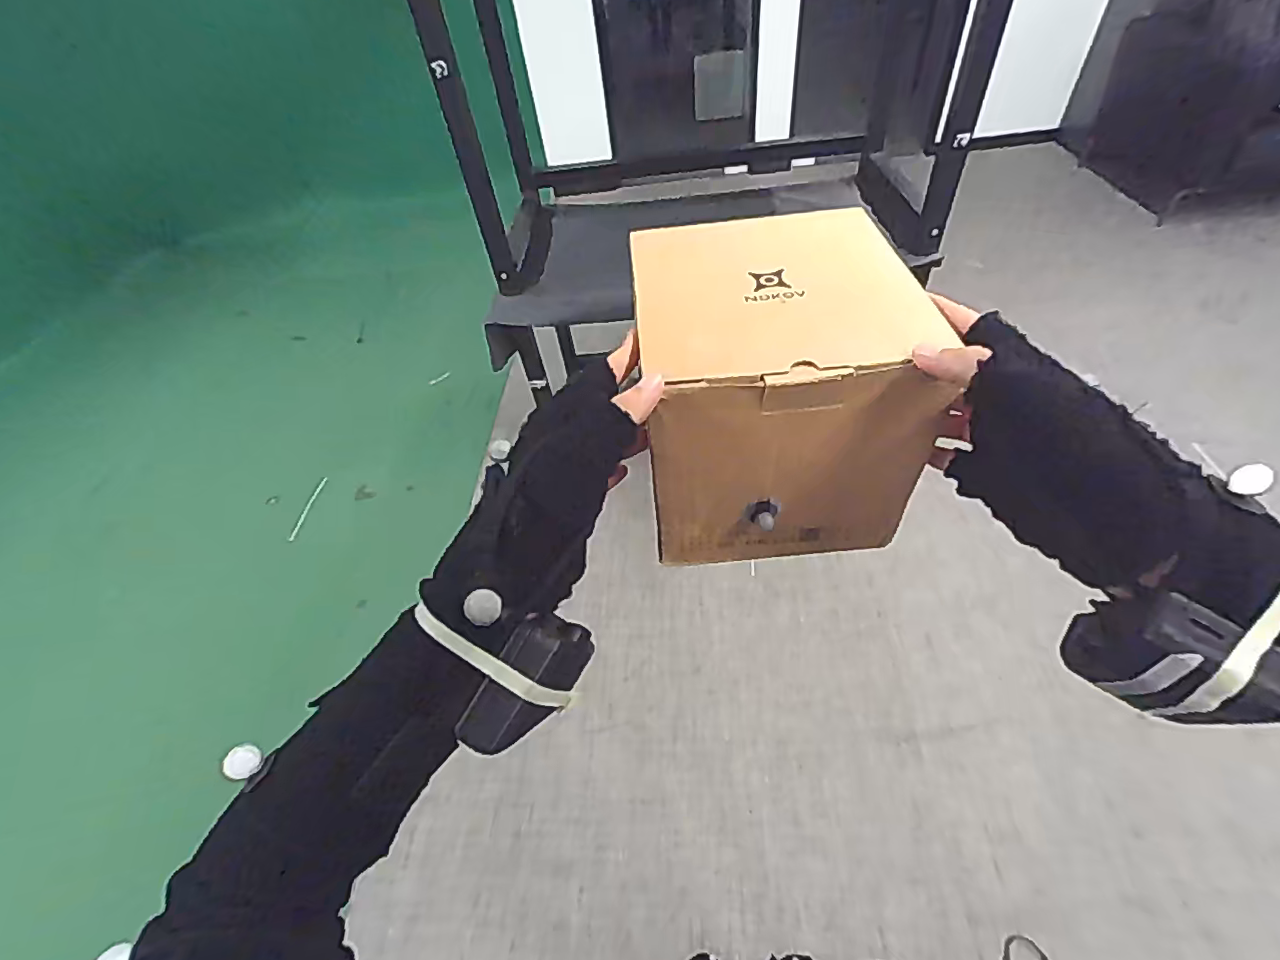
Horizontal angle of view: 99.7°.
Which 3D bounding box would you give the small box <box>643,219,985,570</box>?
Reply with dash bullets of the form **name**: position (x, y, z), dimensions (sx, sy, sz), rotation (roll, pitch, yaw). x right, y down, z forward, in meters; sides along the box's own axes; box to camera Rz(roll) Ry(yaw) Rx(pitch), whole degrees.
- **small box**: position (0.090, -0.058, 0.381), dimensions (0.168, 0.176, 0.179), rotation (-5, 49, 1)
